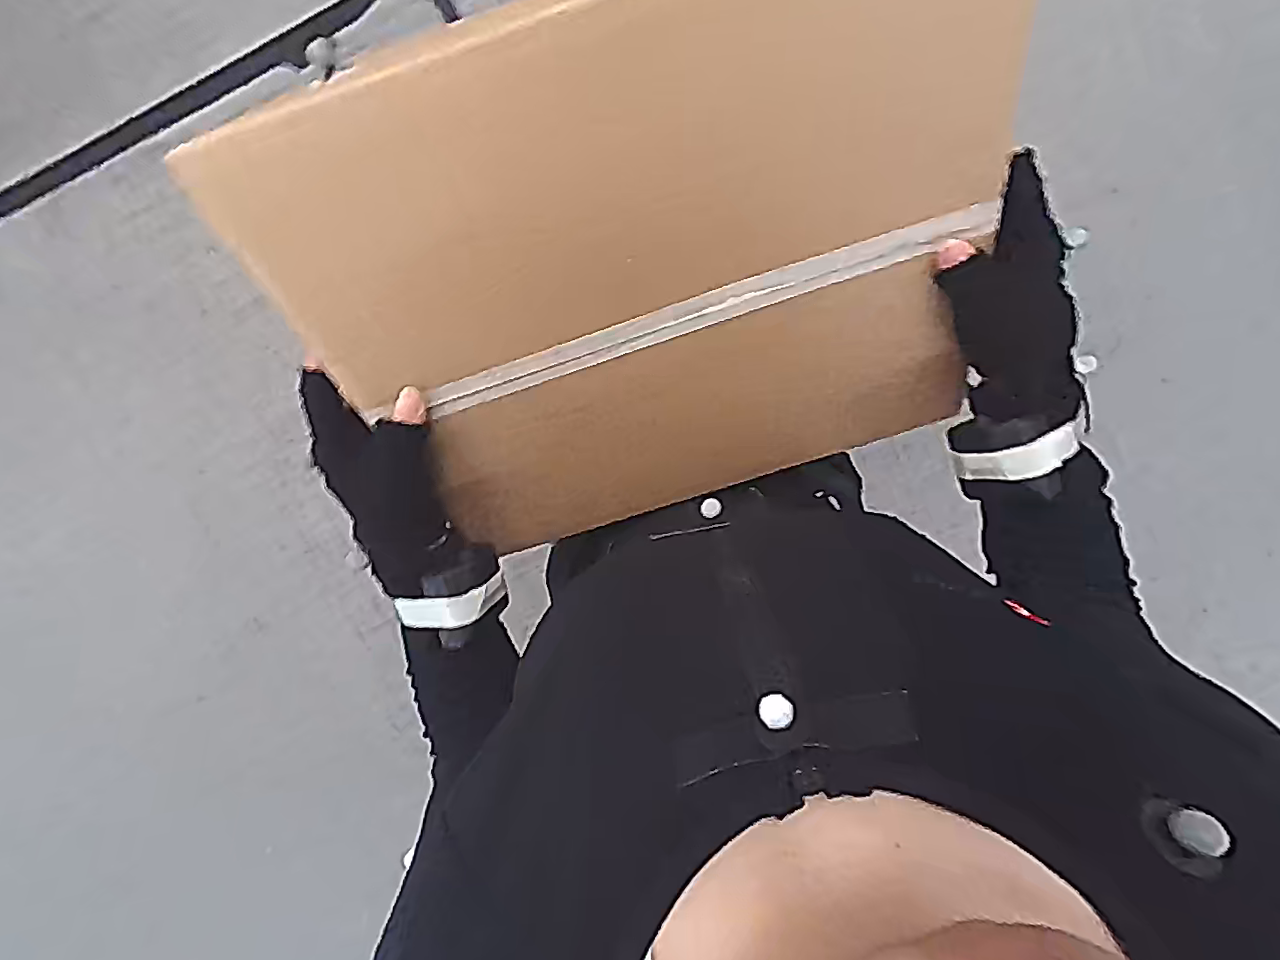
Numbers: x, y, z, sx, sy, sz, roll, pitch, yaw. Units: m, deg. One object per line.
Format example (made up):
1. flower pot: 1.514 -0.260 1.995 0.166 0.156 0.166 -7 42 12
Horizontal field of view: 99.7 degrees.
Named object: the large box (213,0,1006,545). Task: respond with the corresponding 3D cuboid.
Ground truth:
1. large box: -0.008 -0.205 0.455 0.408 0.320 0.320 -17 134 4
